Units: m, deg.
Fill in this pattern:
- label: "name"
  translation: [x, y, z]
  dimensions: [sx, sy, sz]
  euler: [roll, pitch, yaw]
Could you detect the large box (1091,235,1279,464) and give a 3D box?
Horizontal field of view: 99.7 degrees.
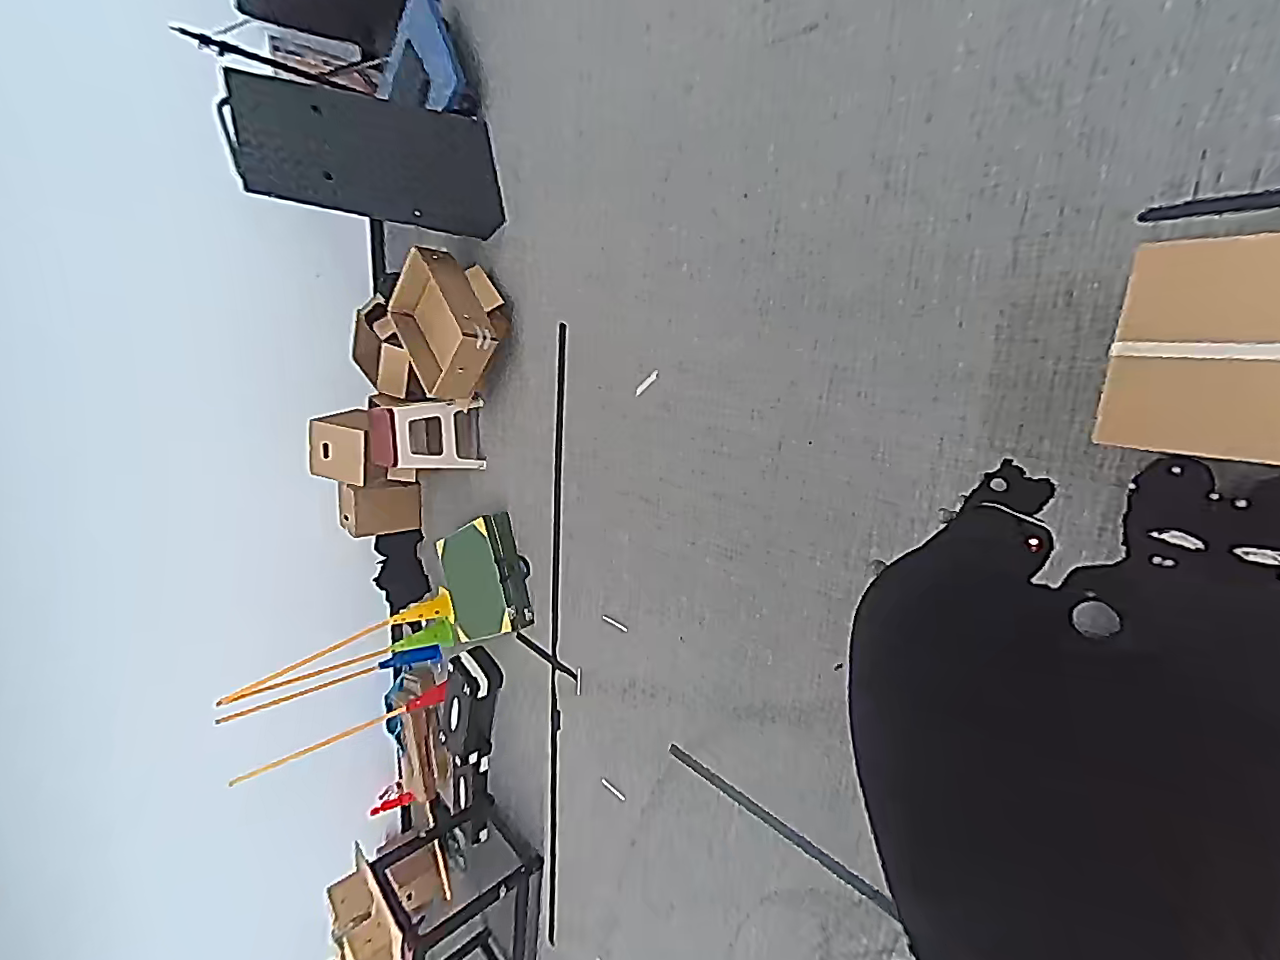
- label: "large box"
  translation: [1.001, -0.192, 0.843]
  dimensions: [0.408, 0.320, 0.320]
  euler: [15, 108, 42]
